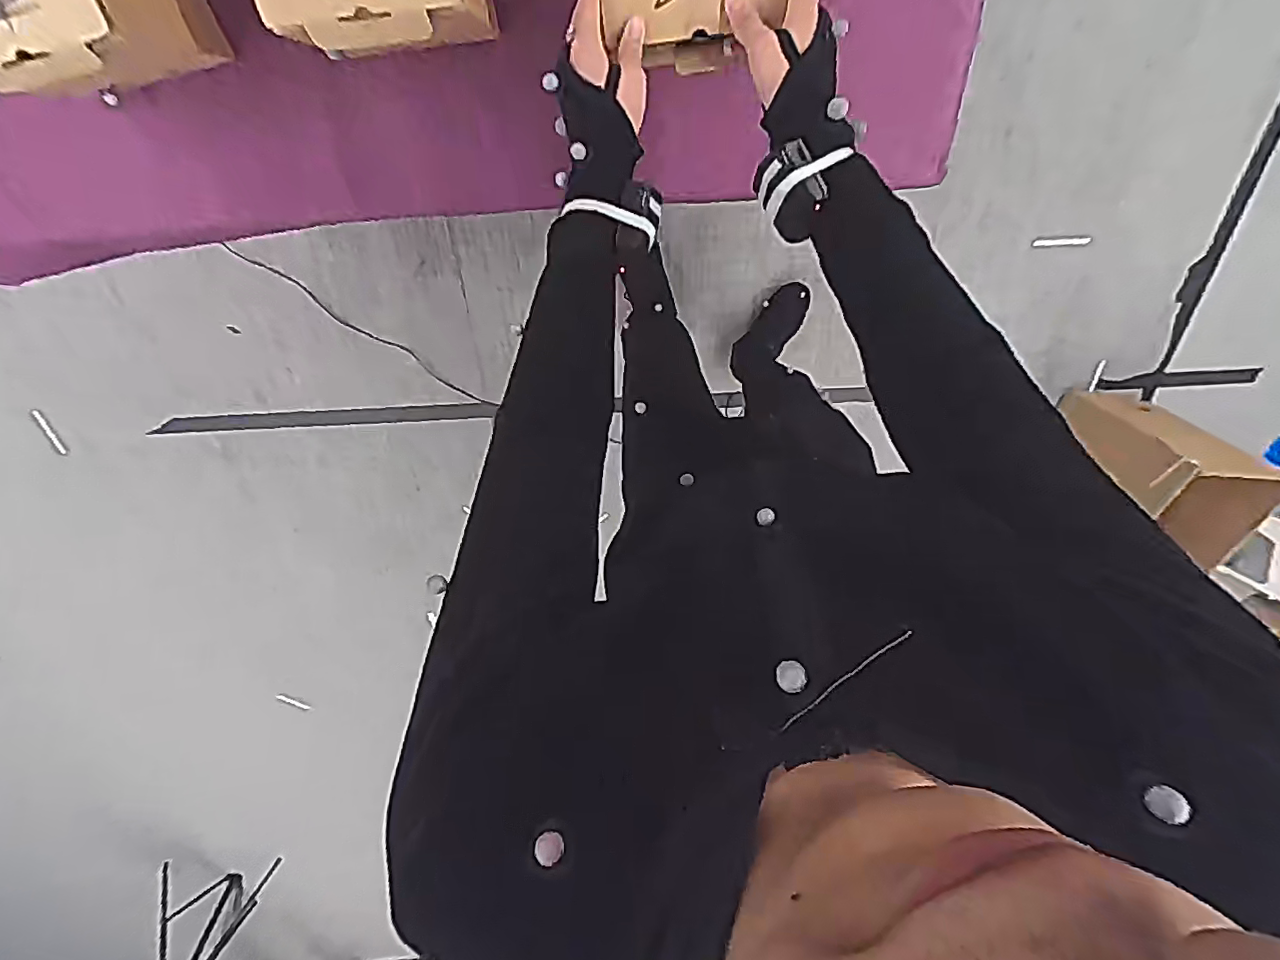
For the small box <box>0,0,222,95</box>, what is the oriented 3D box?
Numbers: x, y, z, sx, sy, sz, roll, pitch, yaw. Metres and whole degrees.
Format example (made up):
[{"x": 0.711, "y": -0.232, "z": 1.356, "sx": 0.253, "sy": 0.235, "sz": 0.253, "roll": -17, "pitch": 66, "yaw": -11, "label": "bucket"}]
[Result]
[{"x": -0.522, "y": -0.452, "z": 0.464, "sx": 0.168, "sy": 0.176, "sz": 0.179, "roll": -12, "pitch": 122, "yaw": 3, "label": "small box"}]

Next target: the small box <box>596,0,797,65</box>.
[{"x": 0.038, "y": -0.492, "z": 0.477, "sx": 0.168, "sy": 0.176, "sz": 0.179, "roll": -6, "pitch": 123, "yaw": 1, "label": "small box"}]
